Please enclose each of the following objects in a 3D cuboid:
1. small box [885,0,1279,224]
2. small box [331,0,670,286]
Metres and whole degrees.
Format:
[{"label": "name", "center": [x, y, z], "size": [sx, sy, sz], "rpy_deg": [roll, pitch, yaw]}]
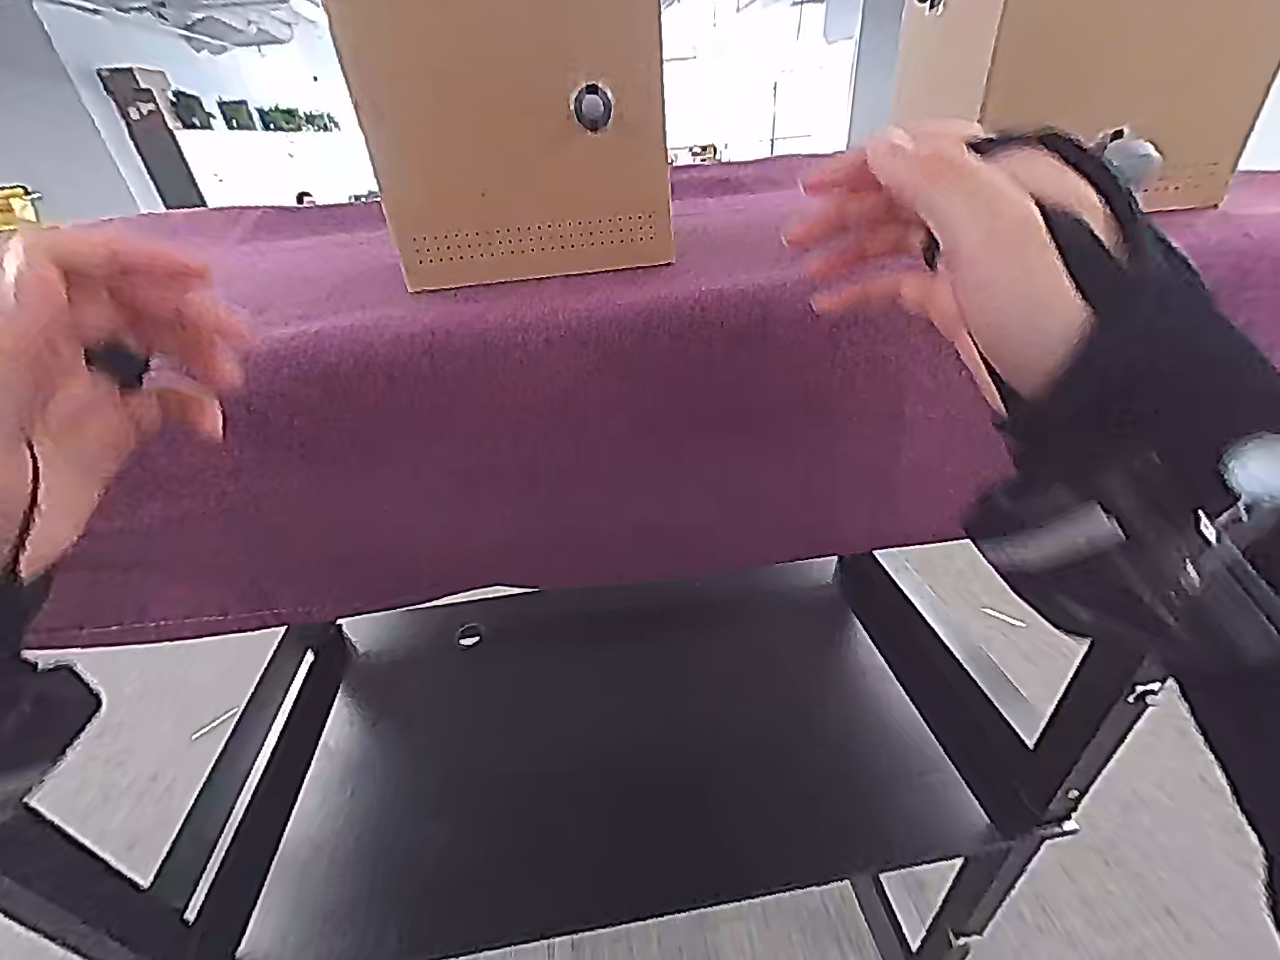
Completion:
[{"label": "small box", "center": [0.305, -0.294, 0.395], "size": [0.179, 0.176, 0.168], "rpy_deg": [-3, 32, 4]}, {"label": "small box", "center": [-0.075, -0.244, 0.375], "size": [0.179, 0.176, 0.168], "rpy_deg": [-8, 32, -3]}]
